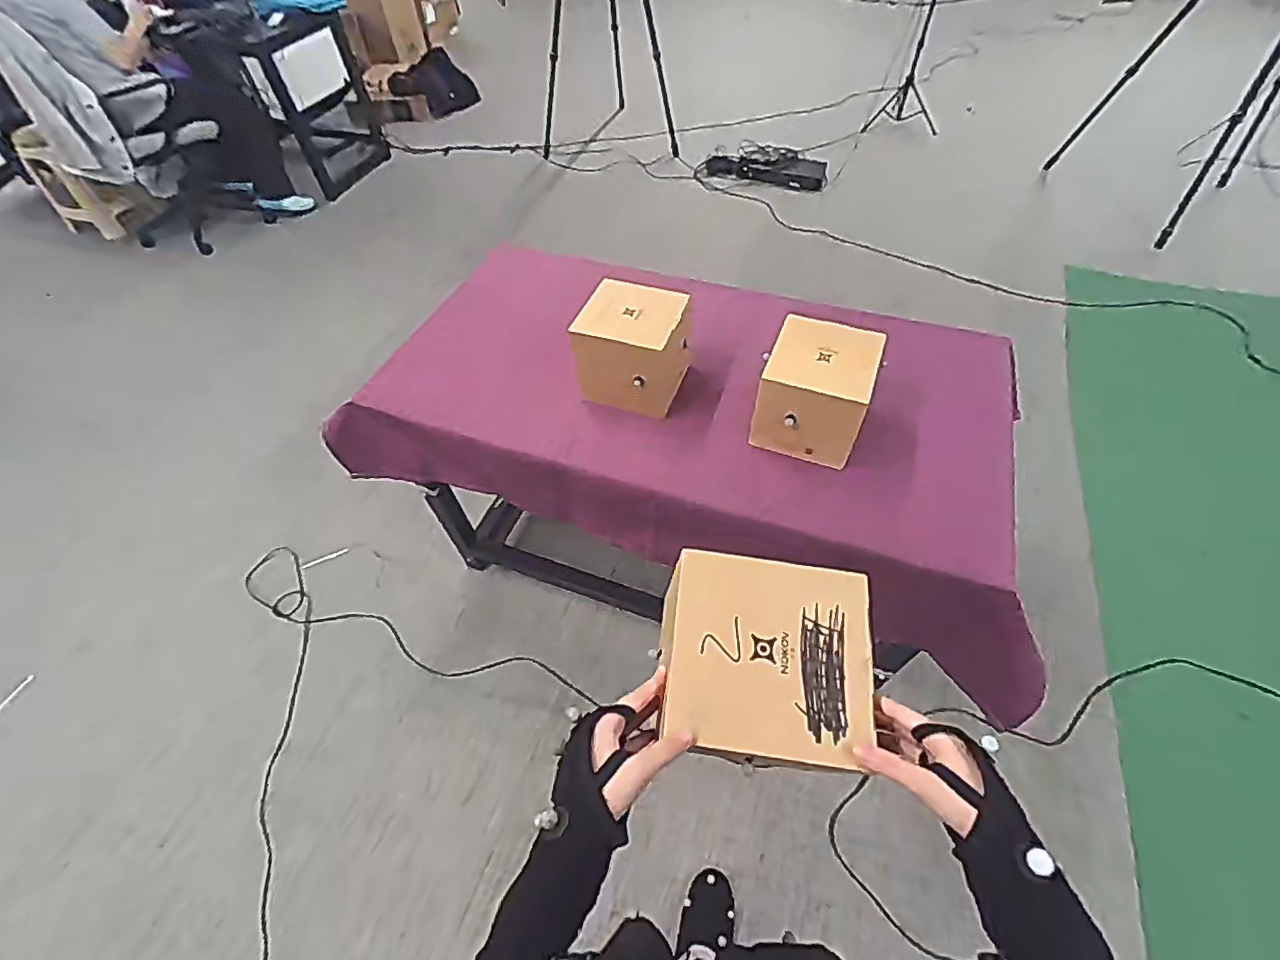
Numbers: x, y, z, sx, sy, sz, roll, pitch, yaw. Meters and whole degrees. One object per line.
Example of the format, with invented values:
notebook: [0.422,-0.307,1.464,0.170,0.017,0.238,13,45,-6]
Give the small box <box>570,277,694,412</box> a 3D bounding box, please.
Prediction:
small box: [-0.009,-0.251,1.019,0.179,0.176,0.168,16,55,15]

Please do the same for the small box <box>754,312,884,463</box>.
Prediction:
small box: [0.302,-0.157,0.935,0.168,0.176,0.179,17,55,15]
